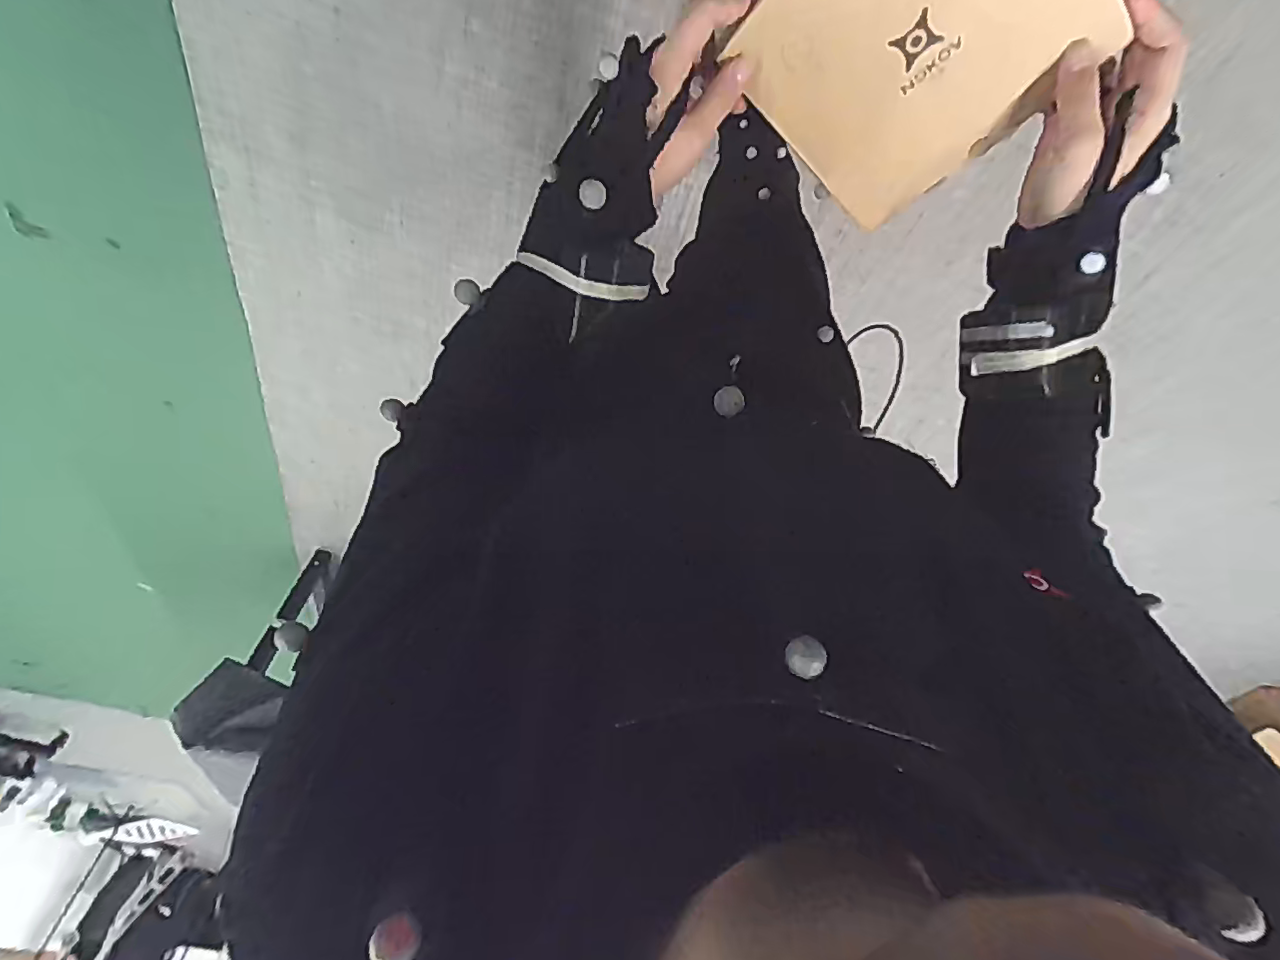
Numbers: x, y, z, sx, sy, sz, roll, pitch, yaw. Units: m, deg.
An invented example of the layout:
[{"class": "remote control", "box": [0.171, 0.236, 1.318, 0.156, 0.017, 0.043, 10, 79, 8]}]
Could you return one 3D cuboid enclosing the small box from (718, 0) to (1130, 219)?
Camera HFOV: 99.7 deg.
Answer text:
[{"class": "small box", "box": [0.164, -0.328, 0.358, 0.179, 0.176, 0.168, 26, 140, -31]}]
